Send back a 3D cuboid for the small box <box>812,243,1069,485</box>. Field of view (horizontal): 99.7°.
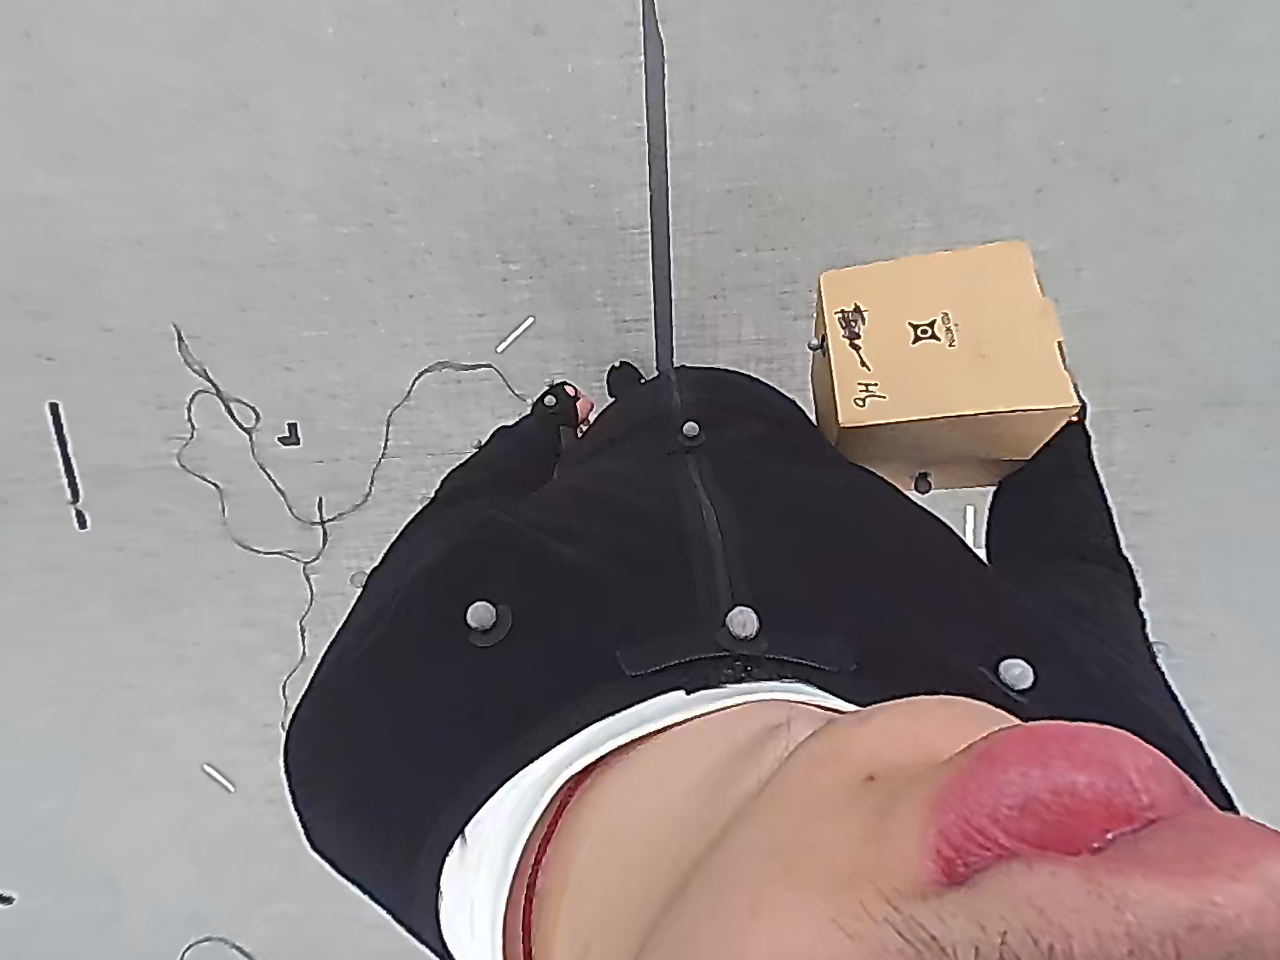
[{"bbox_3d":[0.274,-0.102,0.544,0.179,0.176,0.168,-4,67,13],"label":"small box"}]
